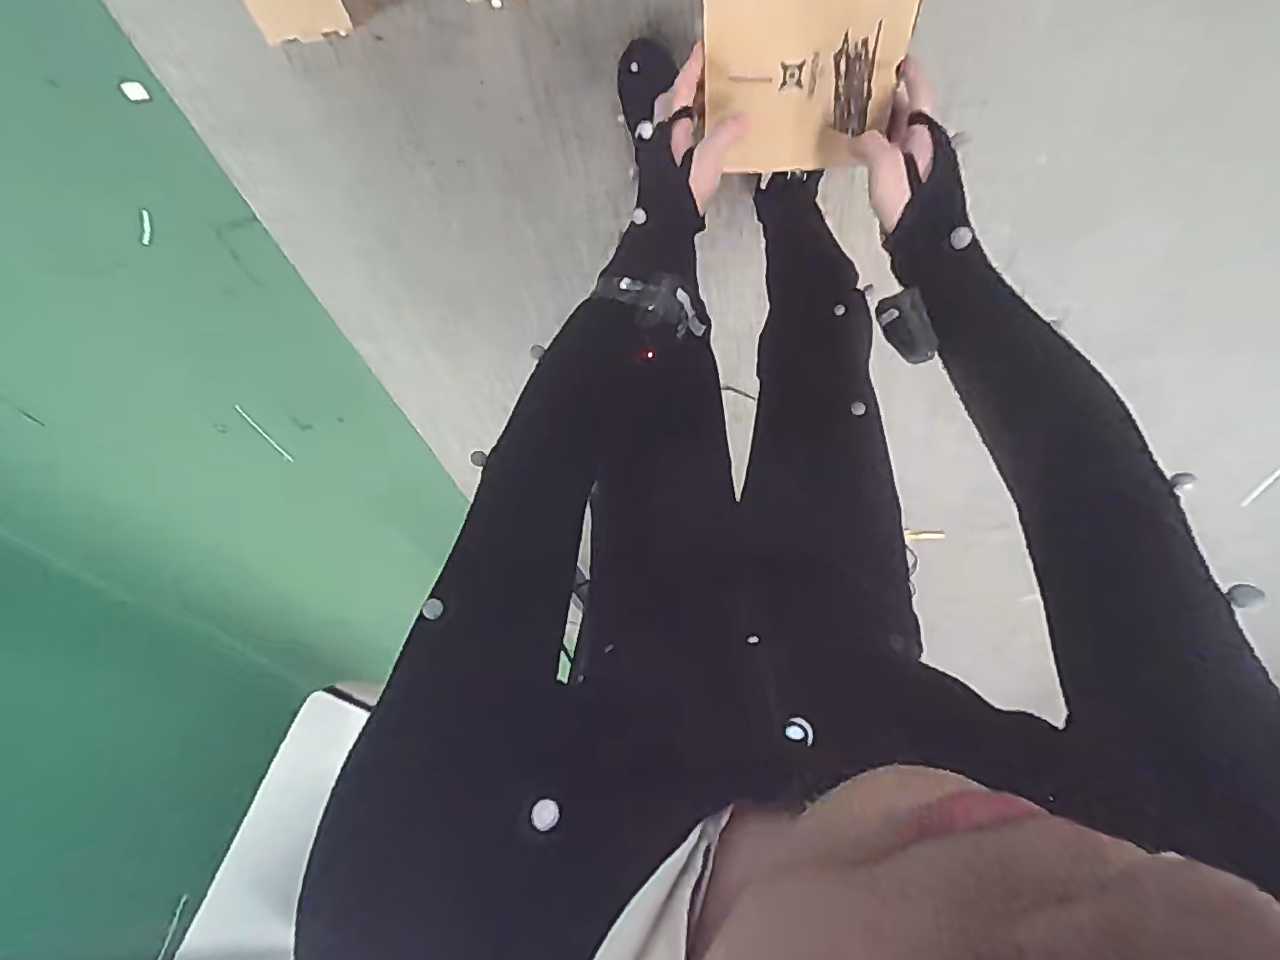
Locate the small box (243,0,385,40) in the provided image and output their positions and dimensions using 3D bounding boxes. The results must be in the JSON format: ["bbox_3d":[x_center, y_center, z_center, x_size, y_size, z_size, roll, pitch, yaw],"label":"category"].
[{"bbox_3d":[-0.512,-0.808,0.815,0.168,0.176,0.179,1,143,13],"label":"small box"}]

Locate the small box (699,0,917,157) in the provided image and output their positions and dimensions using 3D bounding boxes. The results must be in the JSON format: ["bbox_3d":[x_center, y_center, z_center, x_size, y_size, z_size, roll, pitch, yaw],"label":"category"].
[{"bbox_3d":[0.149,-0.437,0.512,0.179,0.176,0.168,4,148,10],"label":"small box"}]
